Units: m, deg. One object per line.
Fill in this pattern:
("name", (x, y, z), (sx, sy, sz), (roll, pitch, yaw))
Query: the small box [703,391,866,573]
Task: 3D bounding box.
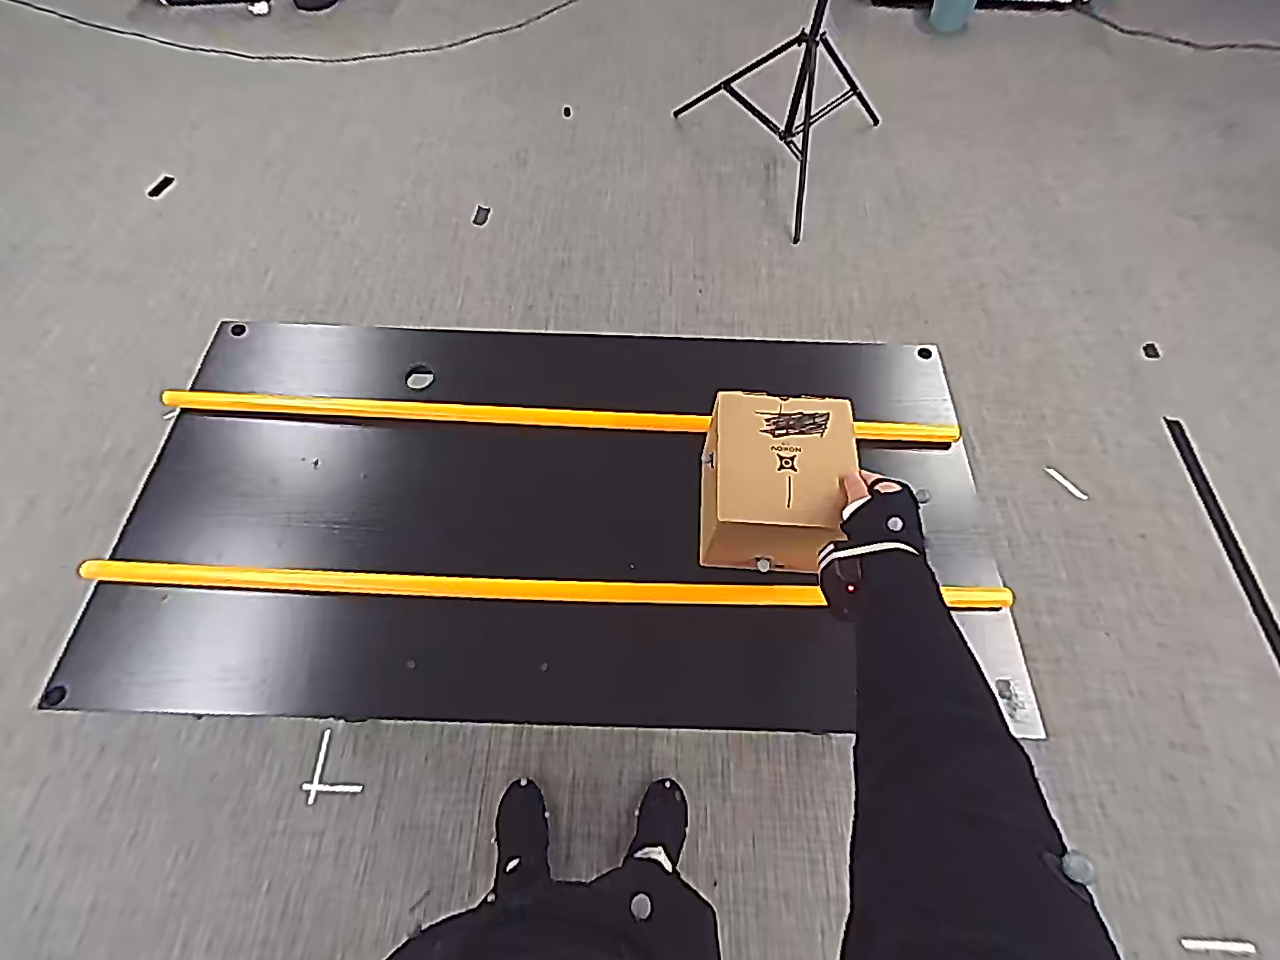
("small box", (0.174, 0.008, 0.706), (0.168, 0.176, 0.179), (4, 64, 2))
